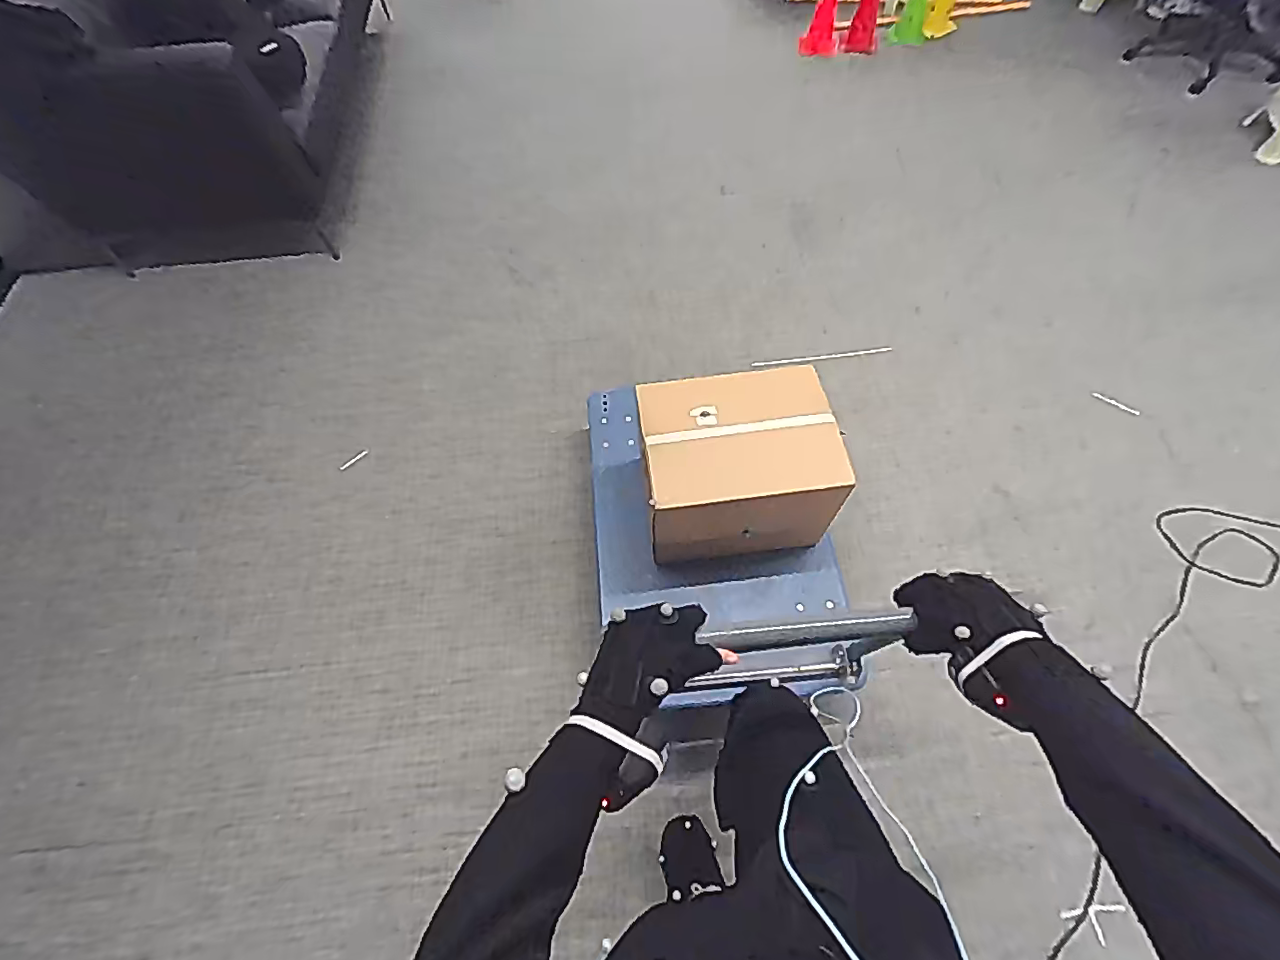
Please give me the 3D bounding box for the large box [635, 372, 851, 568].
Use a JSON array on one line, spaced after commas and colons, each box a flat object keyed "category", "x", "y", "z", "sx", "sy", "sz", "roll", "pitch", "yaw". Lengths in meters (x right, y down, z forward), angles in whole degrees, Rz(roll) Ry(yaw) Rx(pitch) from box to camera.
[{"category": "large box", "x": 0.217, "y": -0.011, "z": 1.278, "sx": 0.408, "sy": 0.320, "sz": 0.320, "roll": -9, "pitch": 60, "yaw": -1}]
